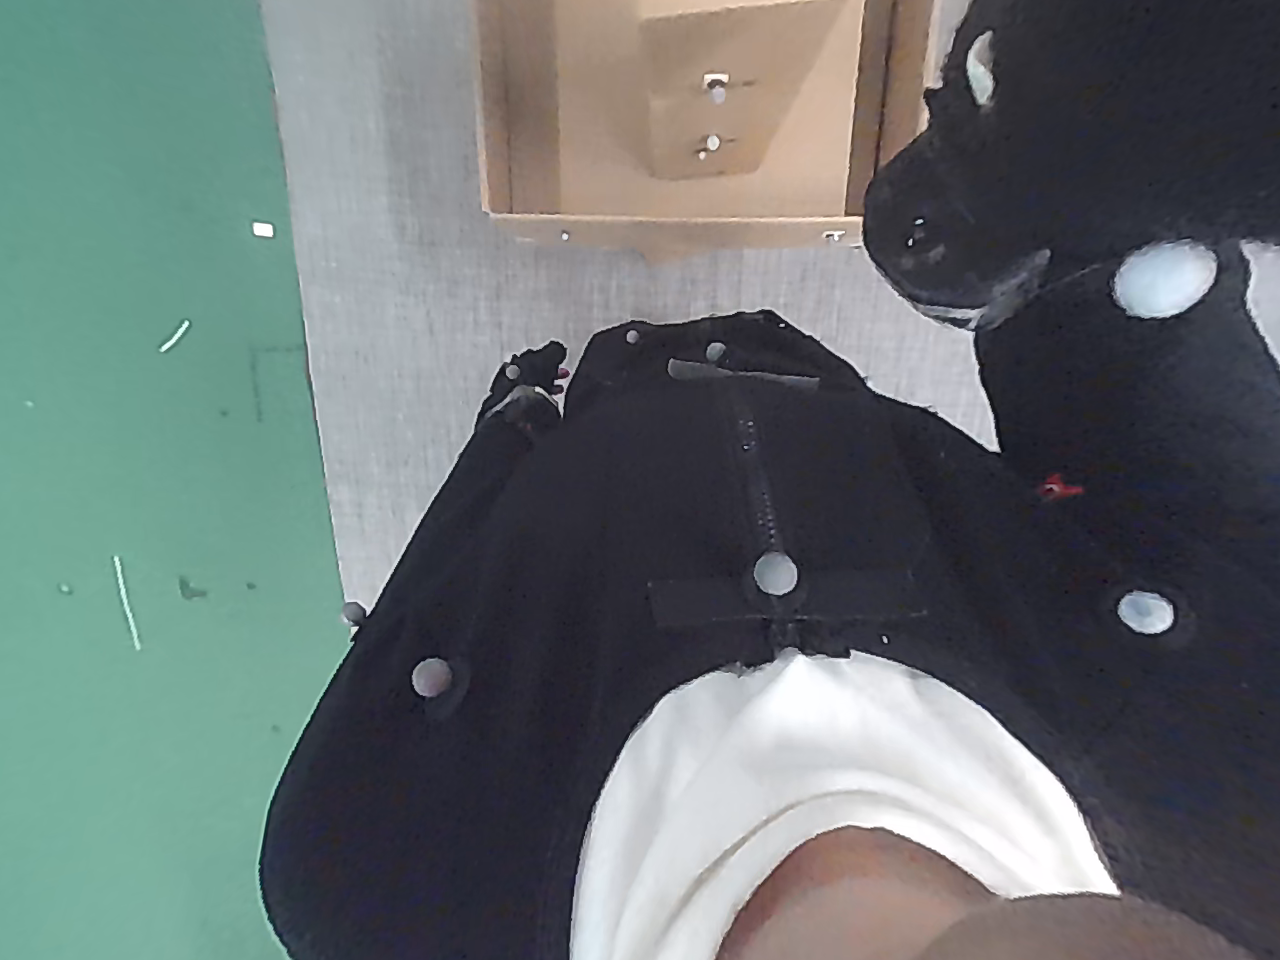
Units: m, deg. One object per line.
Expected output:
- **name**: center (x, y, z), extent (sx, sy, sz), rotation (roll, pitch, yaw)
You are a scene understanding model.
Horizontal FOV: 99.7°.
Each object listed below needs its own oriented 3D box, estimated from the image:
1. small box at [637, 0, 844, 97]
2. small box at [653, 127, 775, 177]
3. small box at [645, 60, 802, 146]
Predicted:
- **small box**: center (0.078, -0.472, 0.470), extent (0.168, 0.176, 0.179), rotation (-3, 106, 5)
- **small box**: center (0.100, -0.564, 0.781), extent (0.168, 0.176, 0.179), rotation (-3, 105, 6)
- **small box**: center (0.088, -0.516, 0.625), extent (0.168, 0.176, 0.179), rotation (-3, 106, 4)
